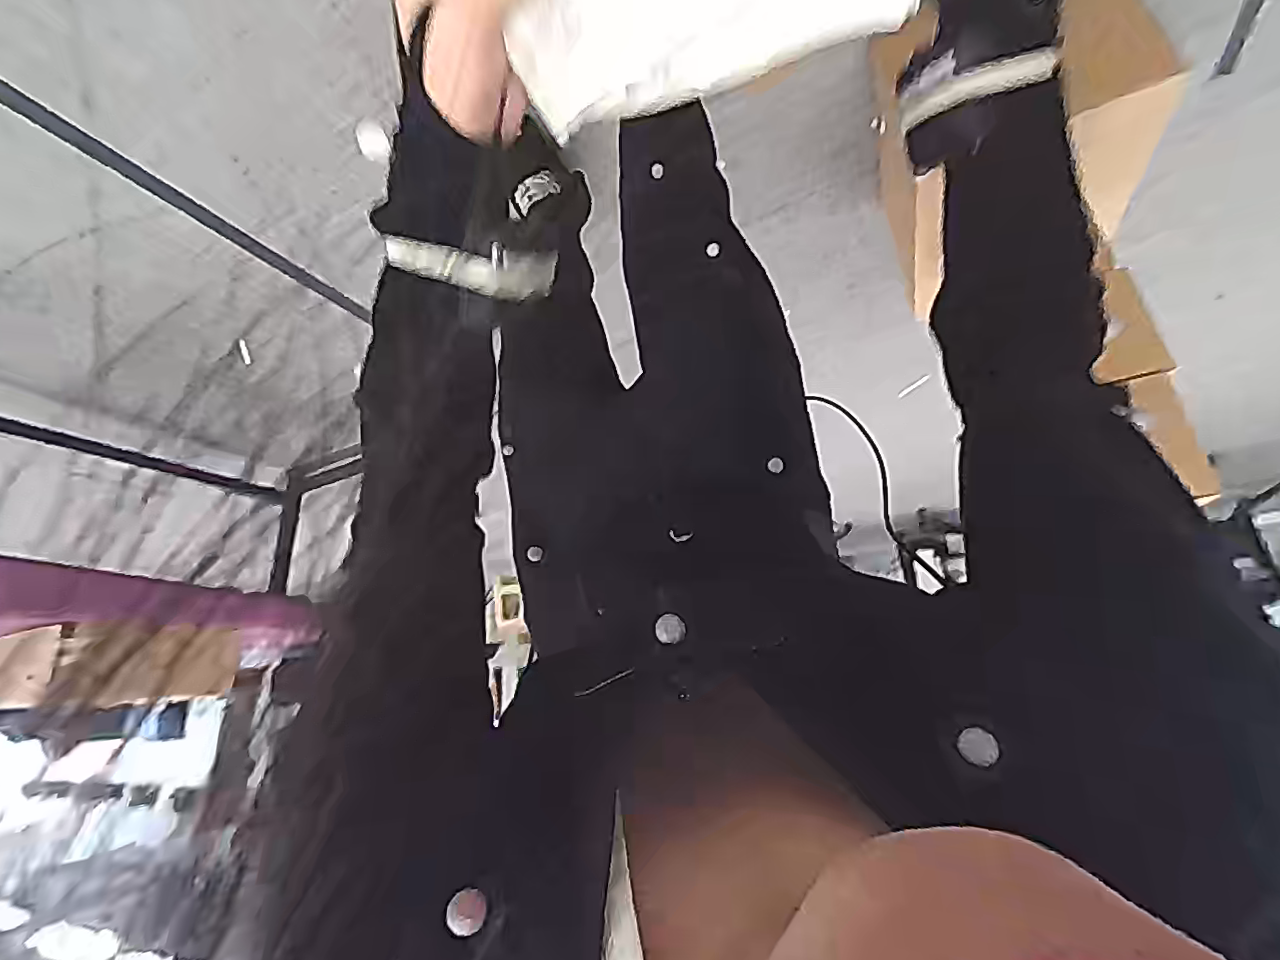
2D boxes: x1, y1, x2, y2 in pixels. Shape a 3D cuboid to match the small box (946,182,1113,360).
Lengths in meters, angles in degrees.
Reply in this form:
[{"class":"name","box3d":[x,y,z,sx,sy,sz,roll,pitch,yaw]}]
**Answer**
[{"class":"small box","box3d":[0.604,-0.326,0.867,0.179,0.176,0.168,-16,157,27]}]
